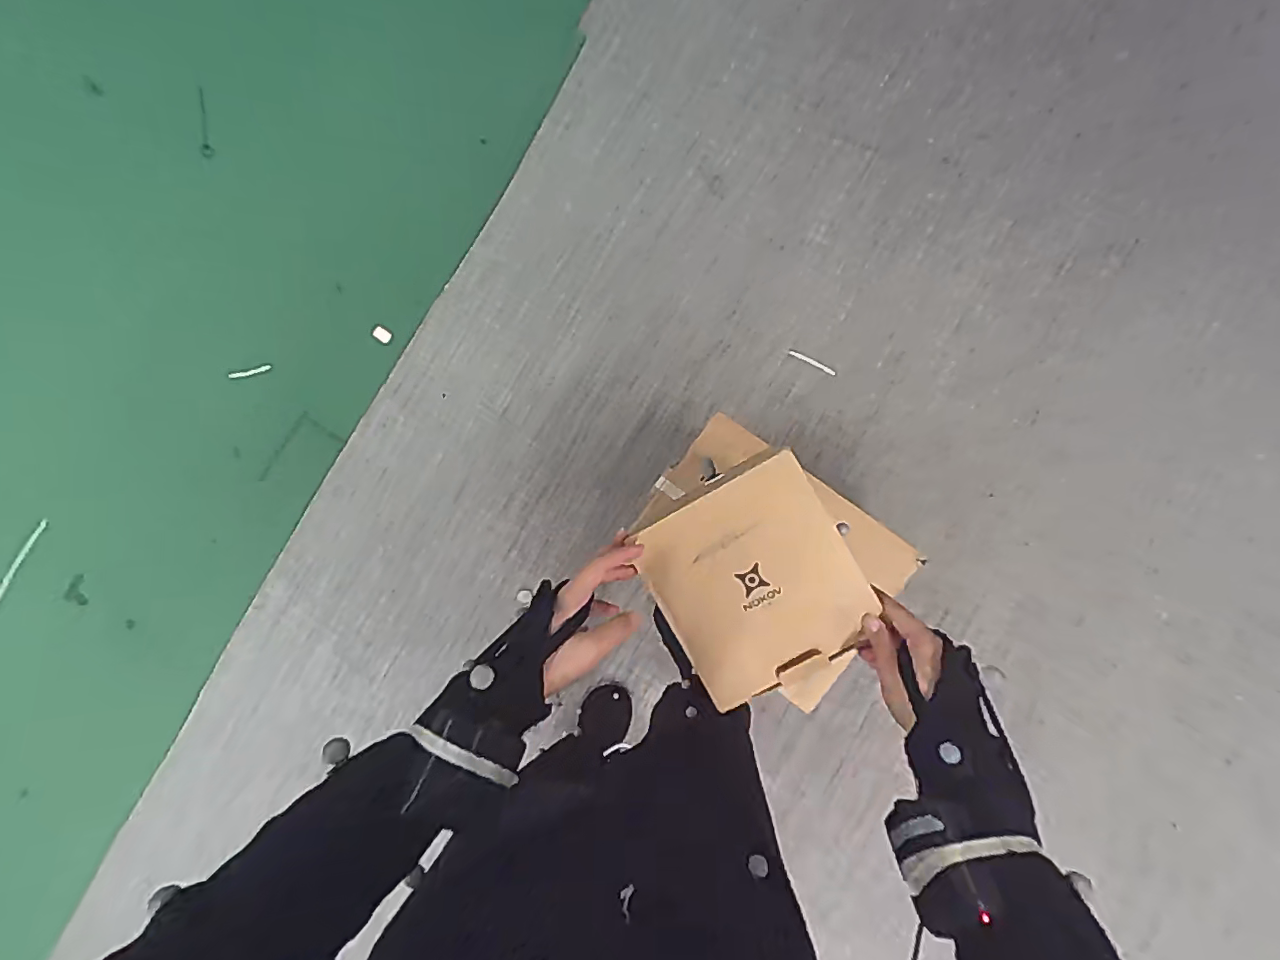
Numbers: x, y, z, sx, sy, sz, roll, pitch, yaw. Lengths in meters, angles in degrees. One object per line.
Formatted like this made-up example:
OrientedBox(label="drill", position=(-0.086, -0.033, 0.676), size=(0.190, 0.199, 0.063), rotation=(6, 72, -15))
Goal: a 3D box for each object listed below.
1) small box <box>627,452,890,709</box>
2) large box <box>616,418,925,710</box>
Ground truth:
OrientedBox(label="small box", position=(0.109, 0.083, 0.540), size=(0.168, 0.176, 0.179), rotation=(-31, 88, 7))
OrientedBox(label="large box", position=(0.219, 0.142, 1.023), size=(0.408, 0.320, 0.320), rotation=(37, 91, 9))
